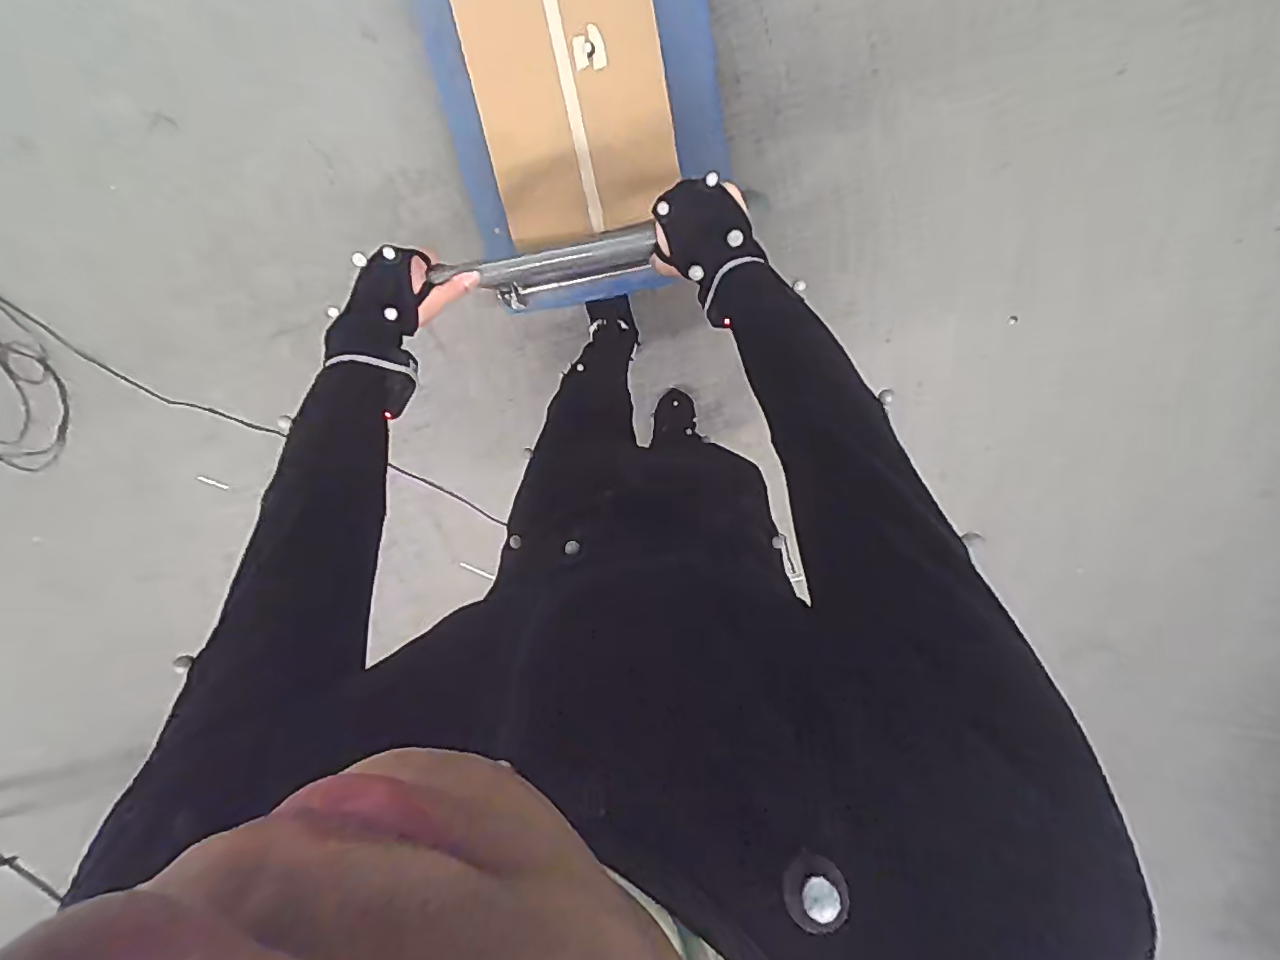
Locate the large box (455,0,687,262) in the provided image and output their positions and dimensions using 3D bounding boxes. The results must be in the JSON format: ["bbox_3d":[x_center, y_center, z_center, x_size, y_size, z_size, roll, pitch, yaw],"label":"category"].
[{"bbox_3d":[-0.096,-0.663,1.032,0.320,0.320,0.408,-9,109,6],"label":"large box"}]
